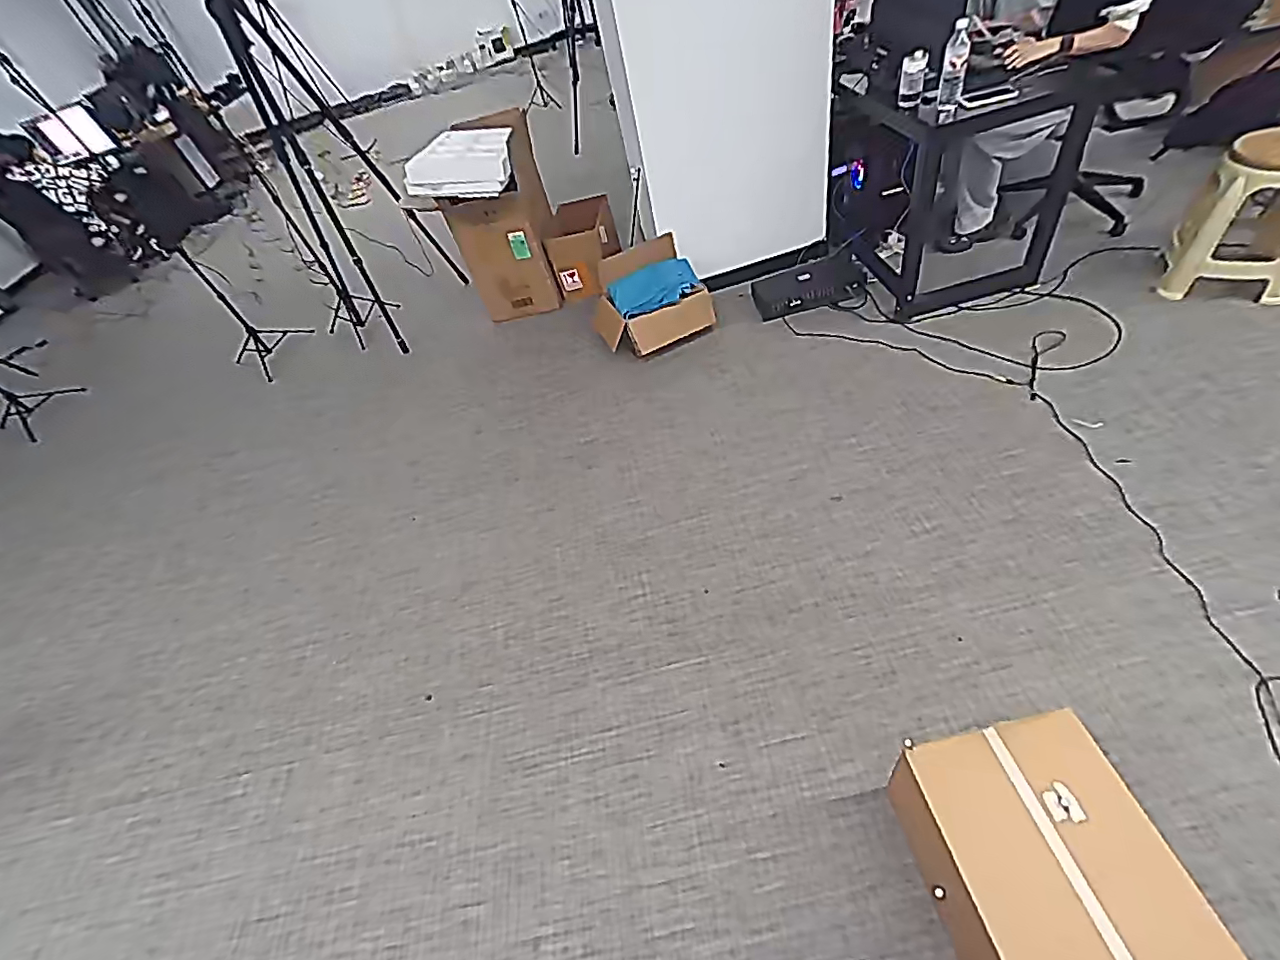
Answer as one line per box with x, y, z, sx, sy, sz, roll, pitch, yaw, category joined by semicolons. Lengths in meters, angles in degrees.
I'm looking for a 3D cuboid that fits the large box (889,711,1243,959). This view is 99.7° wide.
0.707;0.707;0.980;0.320;0.320;0.408;-15;46;2;large box
